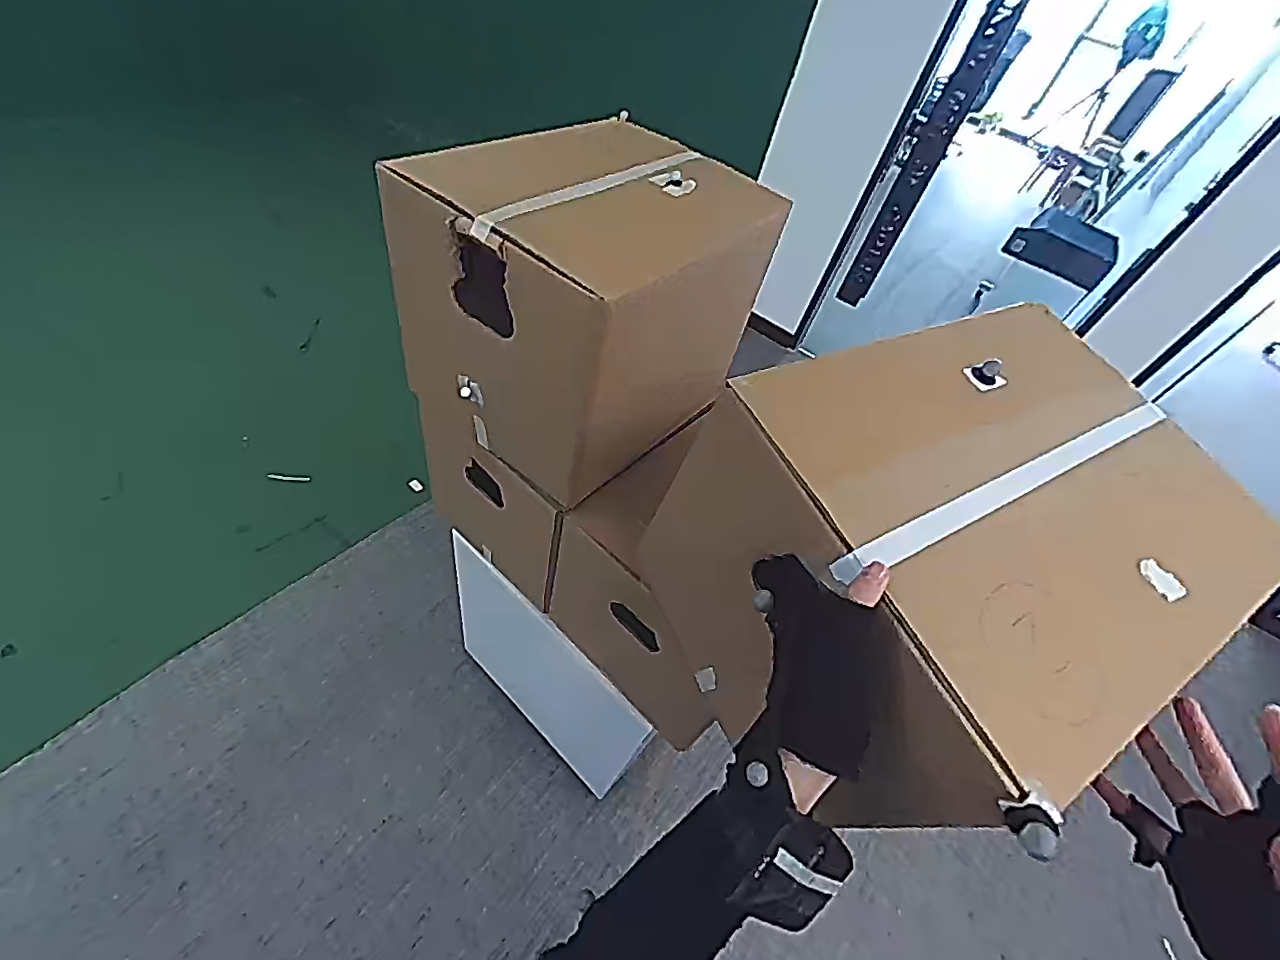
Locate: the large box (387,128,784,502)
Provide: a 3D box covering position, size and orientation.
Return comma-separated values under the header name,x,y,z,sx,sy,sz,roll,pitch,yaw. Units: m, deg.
name,x,y,z,sx,sy,sz,roll,pitch,yaw
large box,-0.065,-0.246,0.755,0.320,0.320,0.408,35,50,16
